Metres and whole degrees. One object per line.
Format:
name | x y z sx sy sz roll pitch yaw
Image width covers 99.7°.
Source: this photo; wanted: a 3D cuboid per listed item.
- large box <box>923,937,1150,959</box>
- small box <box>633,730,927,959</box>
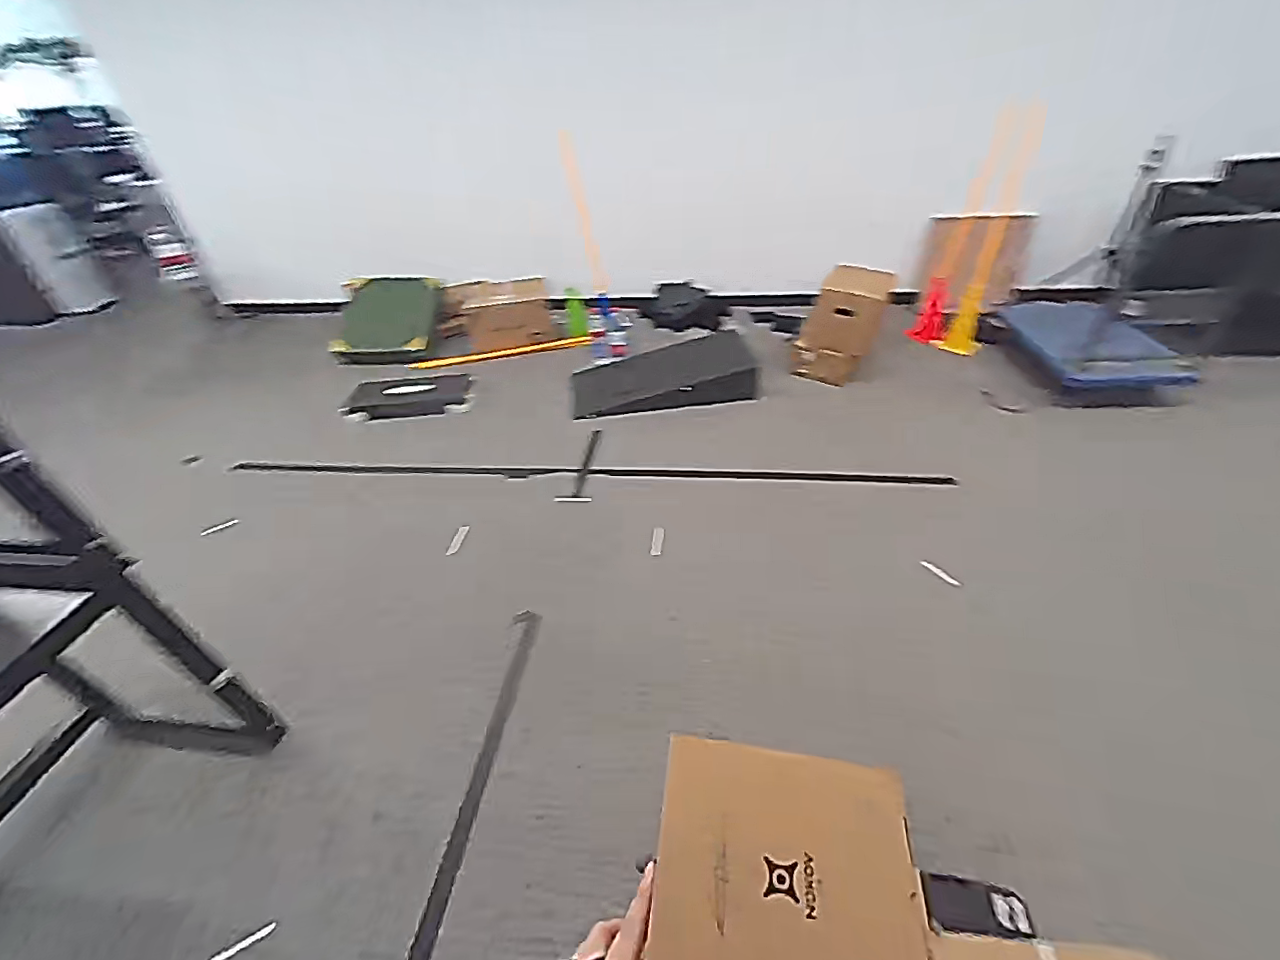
large box | 0.562 0.906 0.704 0.320 0.320 0.408 1 38 7
small box | 0.090 0.317 0.409 0.179 0.176 0.168 6 43 6
